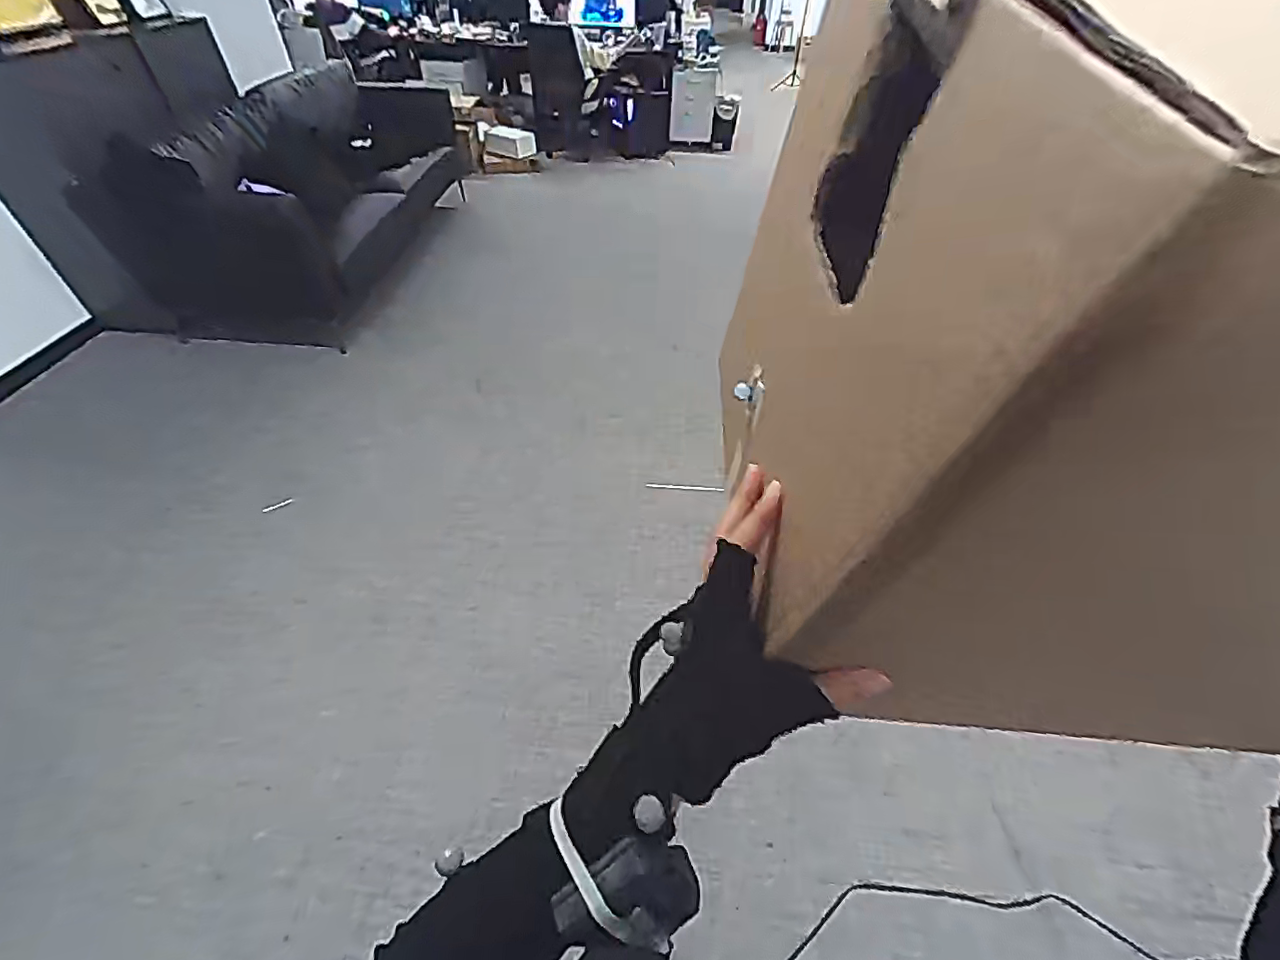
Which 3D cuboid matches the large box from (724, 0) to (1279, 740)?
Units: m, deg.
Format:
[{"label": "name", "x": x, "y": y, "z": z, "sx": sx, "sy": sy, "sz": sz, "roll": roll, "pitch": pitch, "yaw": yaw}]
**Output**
[{"label": "large box", "x": 0.290, "y": -0.053, "z": 0.321, "sx": 0.408, "sy": 0.320, "sz": 0.320, "roll": 6, "pitch": 53, "yaw": -5}]
